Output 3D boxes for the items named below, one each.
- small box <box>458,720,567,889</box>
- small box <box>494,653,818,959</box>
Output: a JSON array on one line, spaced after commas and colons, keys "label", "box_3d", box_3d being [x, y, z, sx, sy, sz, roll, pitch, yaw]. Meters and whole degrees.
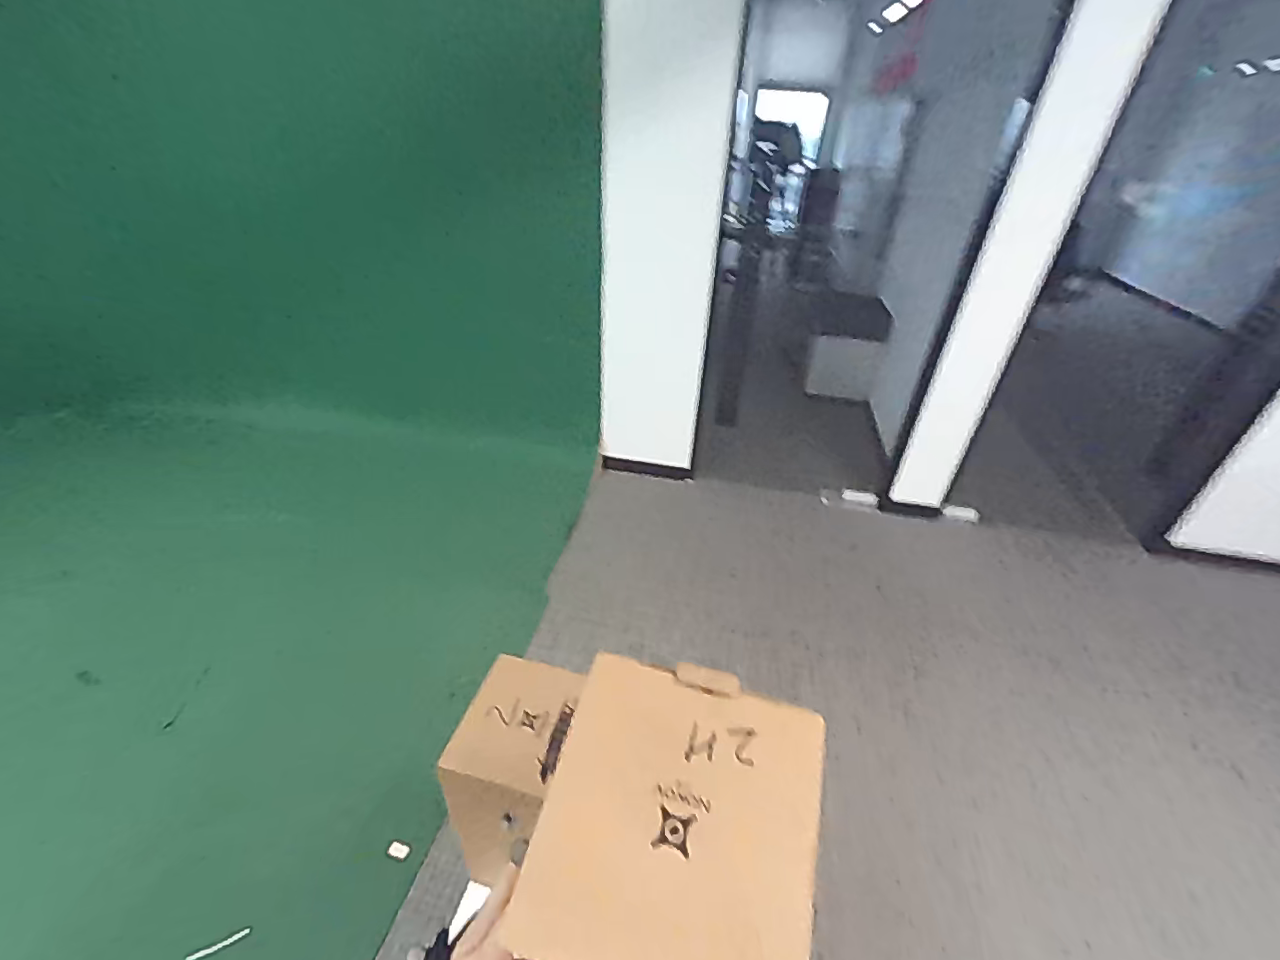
[{"label": "small box", "box_3d": [-0.145, 0.500, 0.812, 0.179, 0.176, 0.168, 11, 35, 9]}, {"label": "small box", "box_3d": [0.020, 0.261, 0.395, 0.168, 0.176, 0.179, 14, 50, 10]}]
